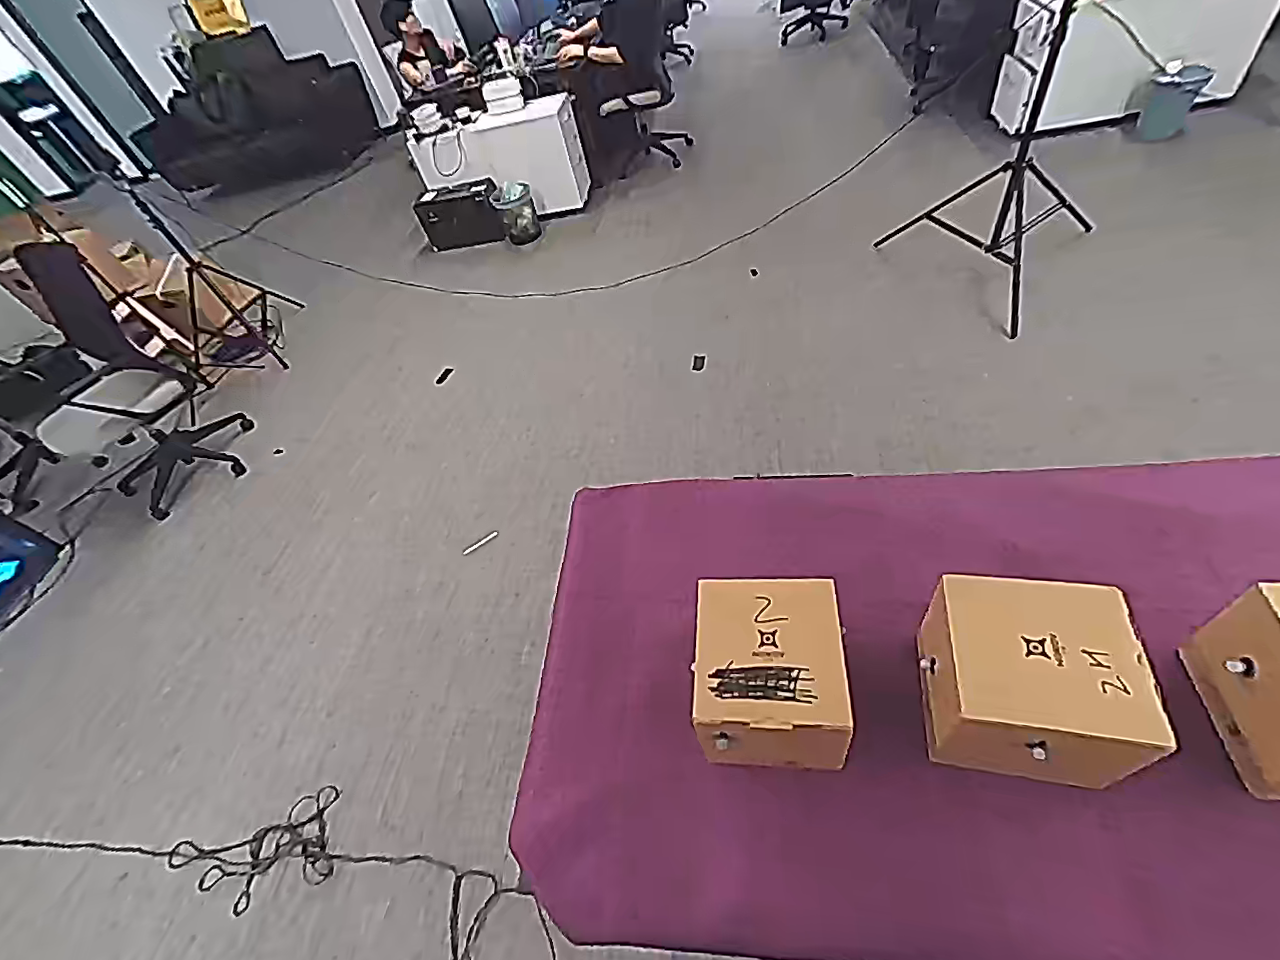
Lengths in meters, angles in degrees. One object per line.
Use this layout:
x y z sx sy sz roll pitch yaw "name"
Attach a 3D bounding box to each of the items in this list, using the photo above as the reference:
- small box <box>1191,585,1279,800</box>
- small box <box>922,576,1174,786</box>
0.722 0.222 0.544 0.179 0.176 0.168 0 48 14 "small box"
0.431 0.228 0.615 0.179 0.176 0.168 3 51 17 "small box"
